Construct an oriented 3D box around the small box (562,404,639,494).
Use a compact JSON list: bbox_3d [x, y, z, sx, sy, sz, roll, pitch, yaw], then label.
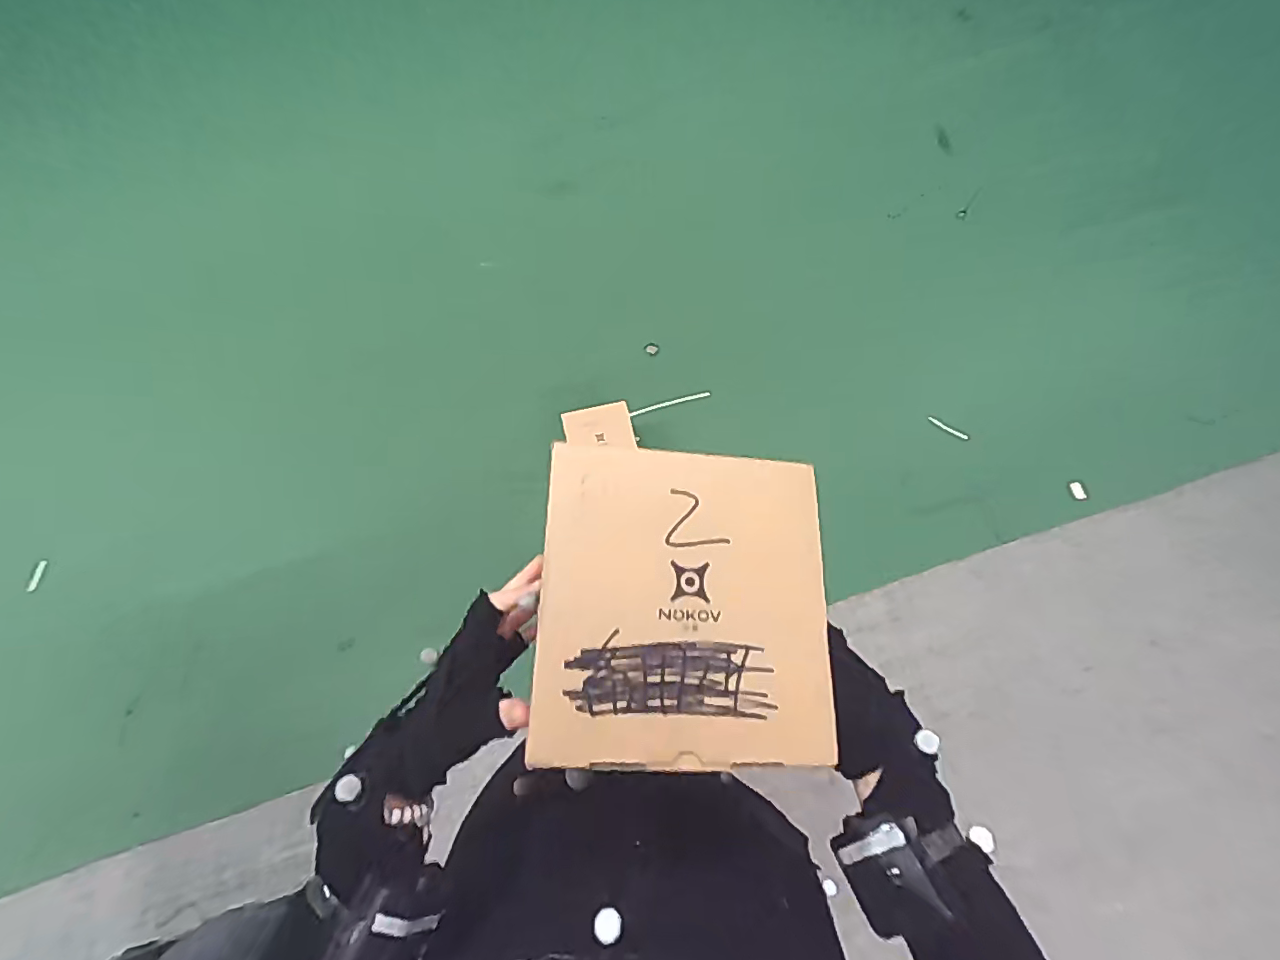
[{"bbox_3d":[-0.098,-0.071,1.394,0.168,0.176,0.179,-13,74,-5],"label":"small box"}]
